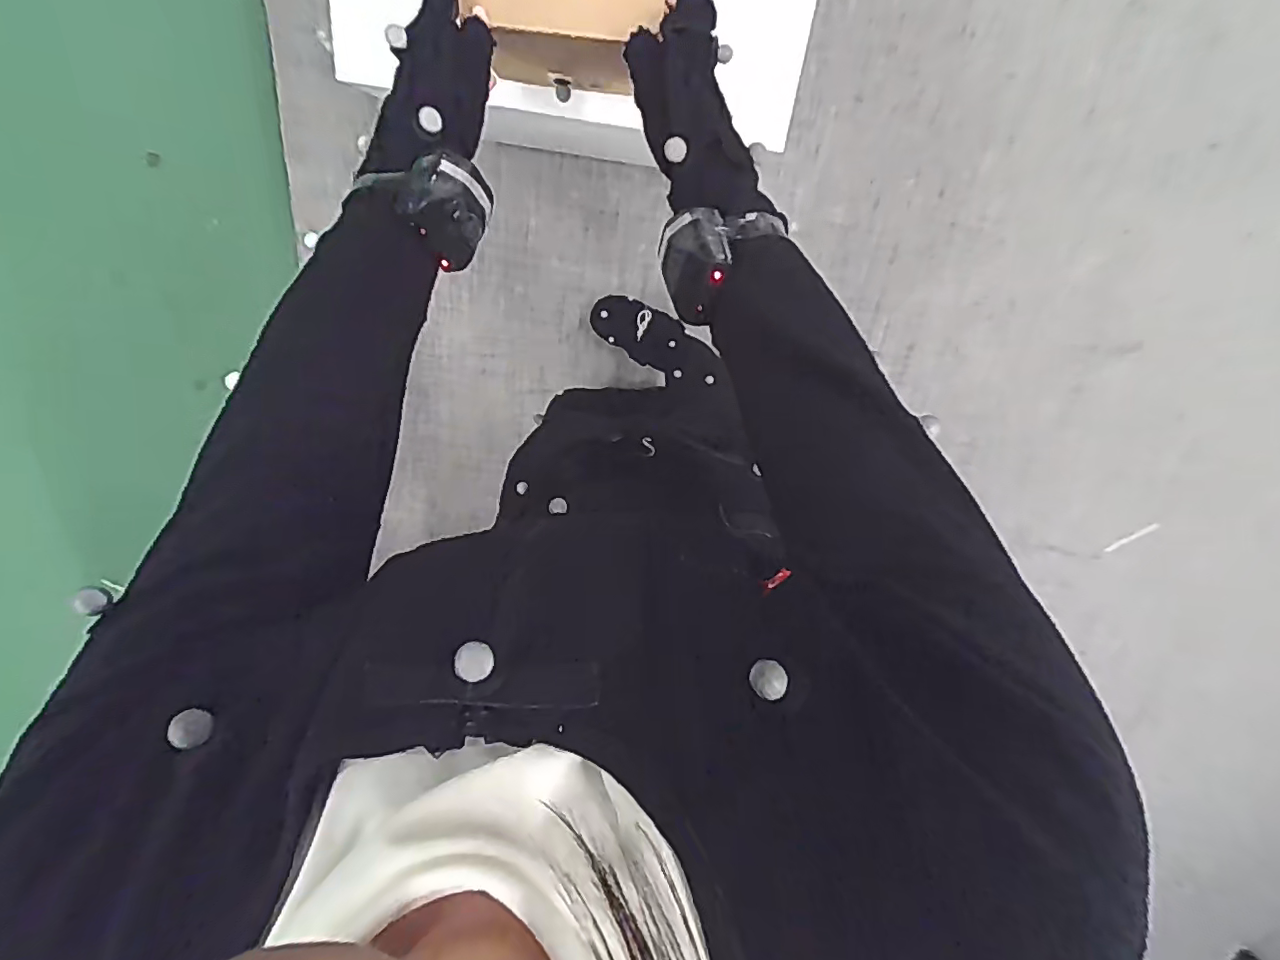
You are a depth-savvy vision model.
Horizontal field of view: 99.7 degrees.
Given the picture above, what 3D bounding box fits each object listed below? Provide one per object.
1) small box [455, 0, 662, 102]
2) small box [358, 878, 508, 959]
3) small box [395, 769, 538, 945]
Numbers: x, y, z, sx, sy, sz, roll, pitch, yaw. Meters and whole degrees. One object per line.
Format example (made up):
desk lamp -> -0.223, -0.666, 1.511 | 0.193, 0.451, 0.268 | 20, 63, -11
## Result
small box -> -0.061, -0.465, 0.479 | 0.168, 0.176, 0.179 | 4, 113, -1
small box -> -0.278, 0.671, 0.714 | 0.168, 0.176, 0.179 | 8, 118, 0
small box -> -0.265, 0.590, 0.857 | 0.179, 0.176, 0.168 | 10, 116, -2
